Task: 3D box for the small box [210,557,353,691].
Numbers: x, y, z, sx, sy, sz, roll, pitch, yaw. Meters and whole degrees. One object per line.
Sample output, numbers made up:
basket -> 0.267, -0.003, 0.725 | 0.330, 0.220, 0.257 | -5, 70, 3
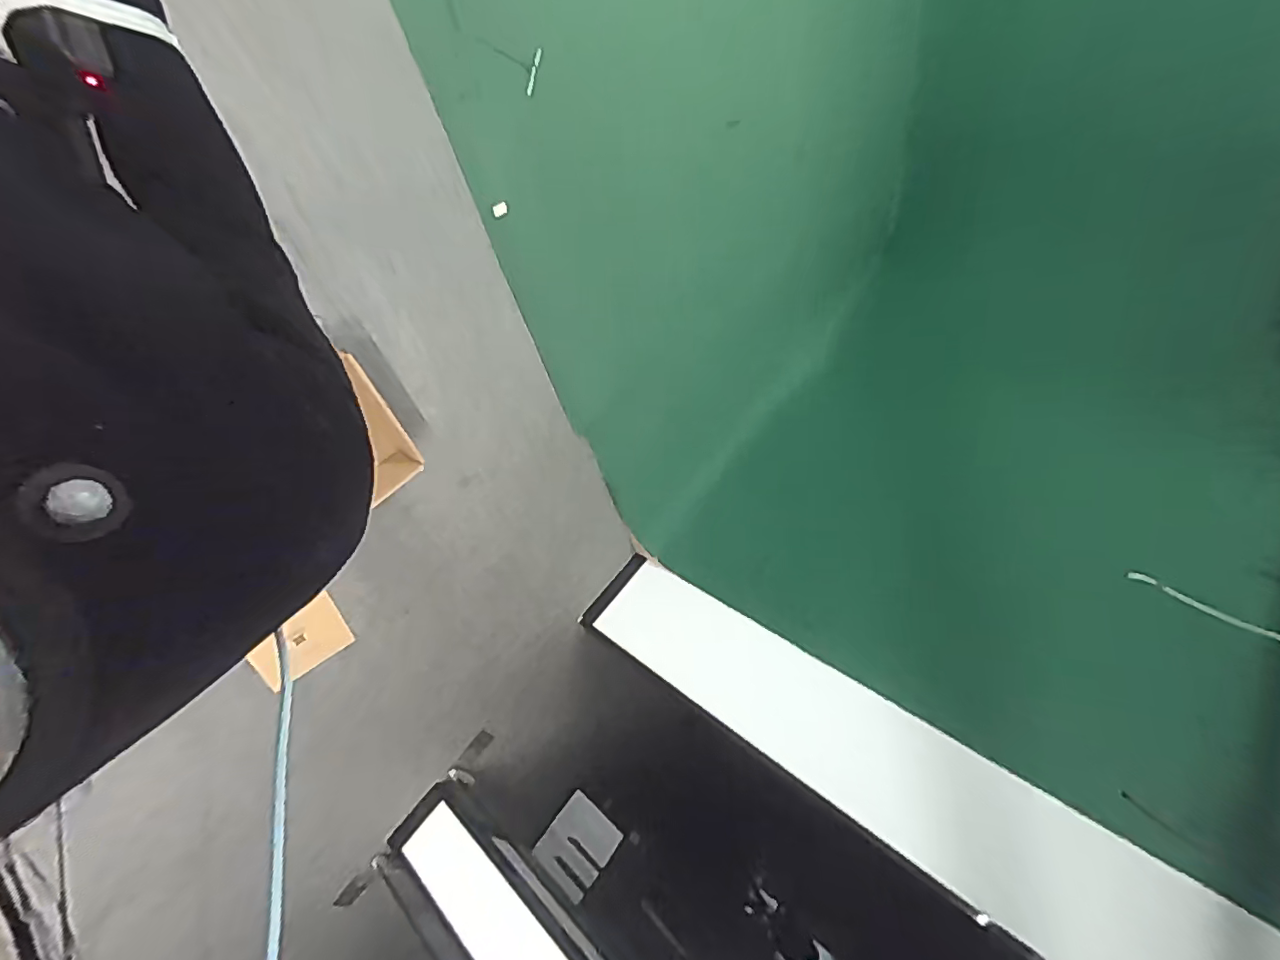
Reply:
small box -> -0.727, 0.279, 1.097 | 0.168, 0.176, 0.179 | -34, 135, -34
